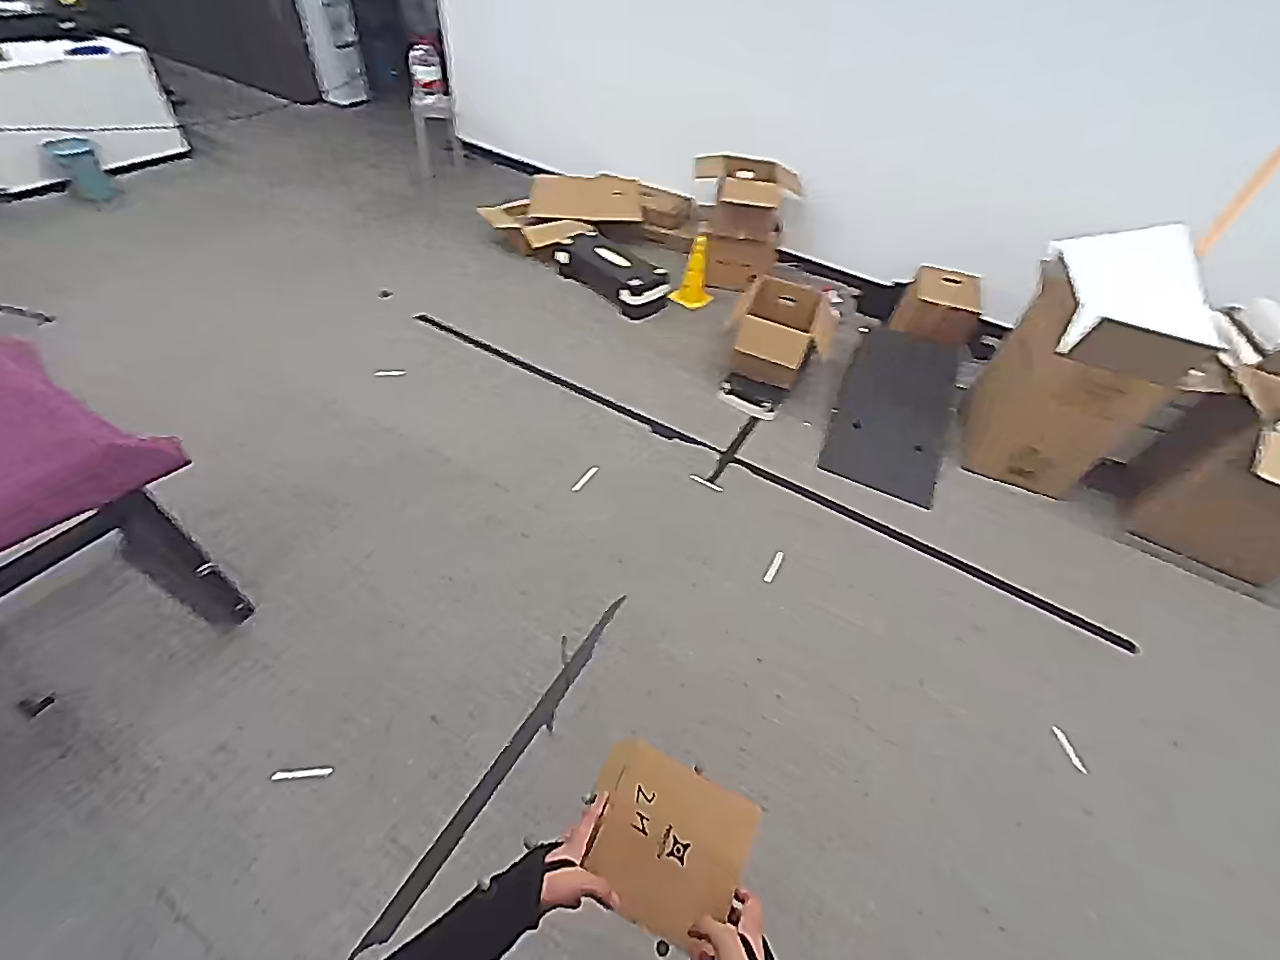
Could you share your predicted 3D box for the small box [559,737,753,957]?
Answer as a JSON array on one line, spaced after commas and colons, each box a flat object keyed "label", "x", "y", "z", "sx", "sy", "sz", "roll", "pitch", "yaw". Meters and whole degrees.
[{"label": "small box", "x": 0.013, "y": 0.450, "z": 0.694, "sx": 0.179, "sy": 0.176, "sz": 0.168, "roll": 27, "pitch": 60, "yaw": 2}]
